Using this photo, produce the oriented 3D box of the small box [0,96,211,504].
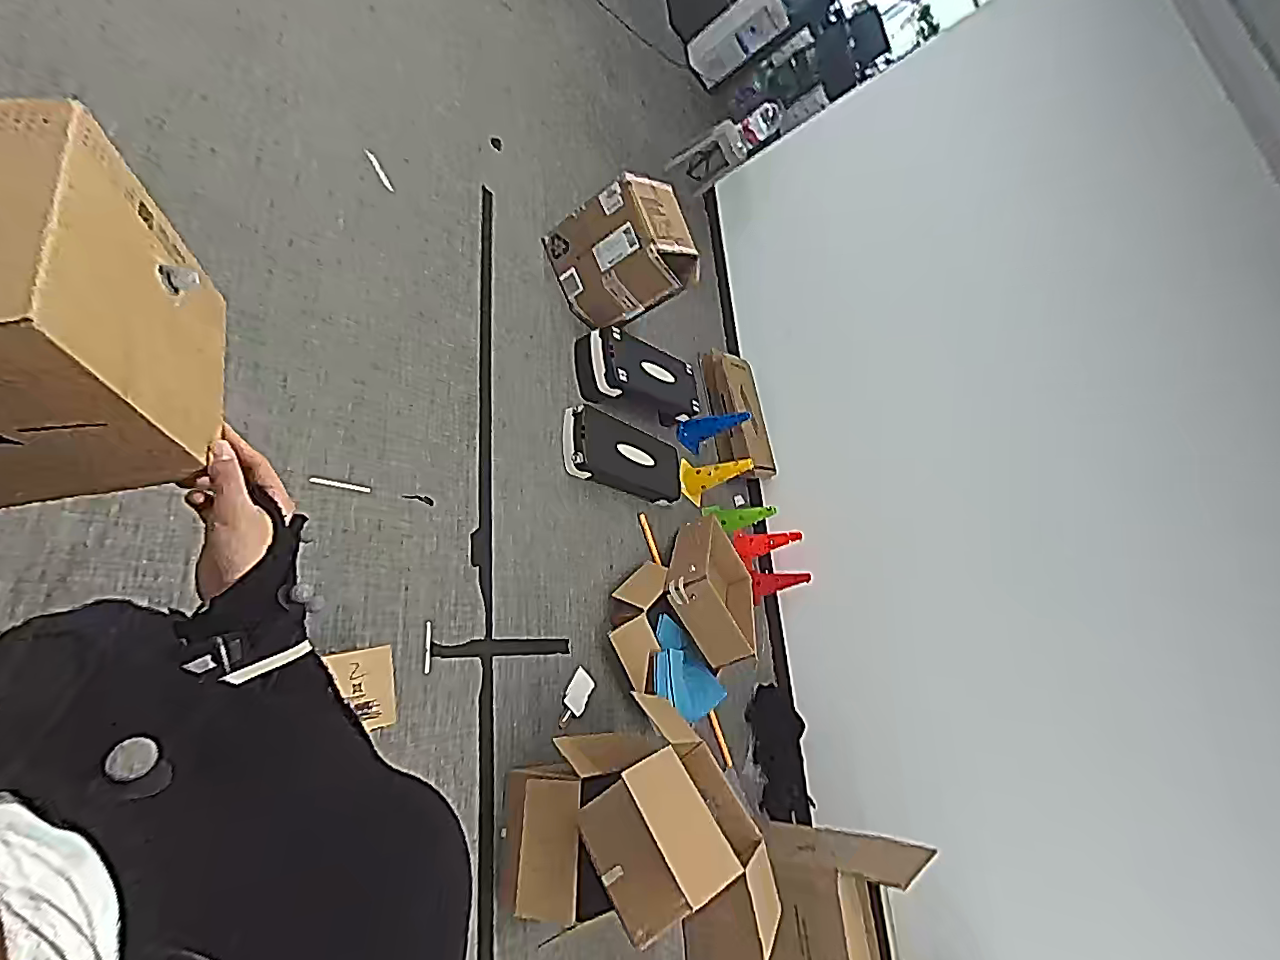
[{"bbox_3d":[-0.396,-0.099,0.325,0.179,0.168,0.176,-11,69,-16],"label":"small box"}]
